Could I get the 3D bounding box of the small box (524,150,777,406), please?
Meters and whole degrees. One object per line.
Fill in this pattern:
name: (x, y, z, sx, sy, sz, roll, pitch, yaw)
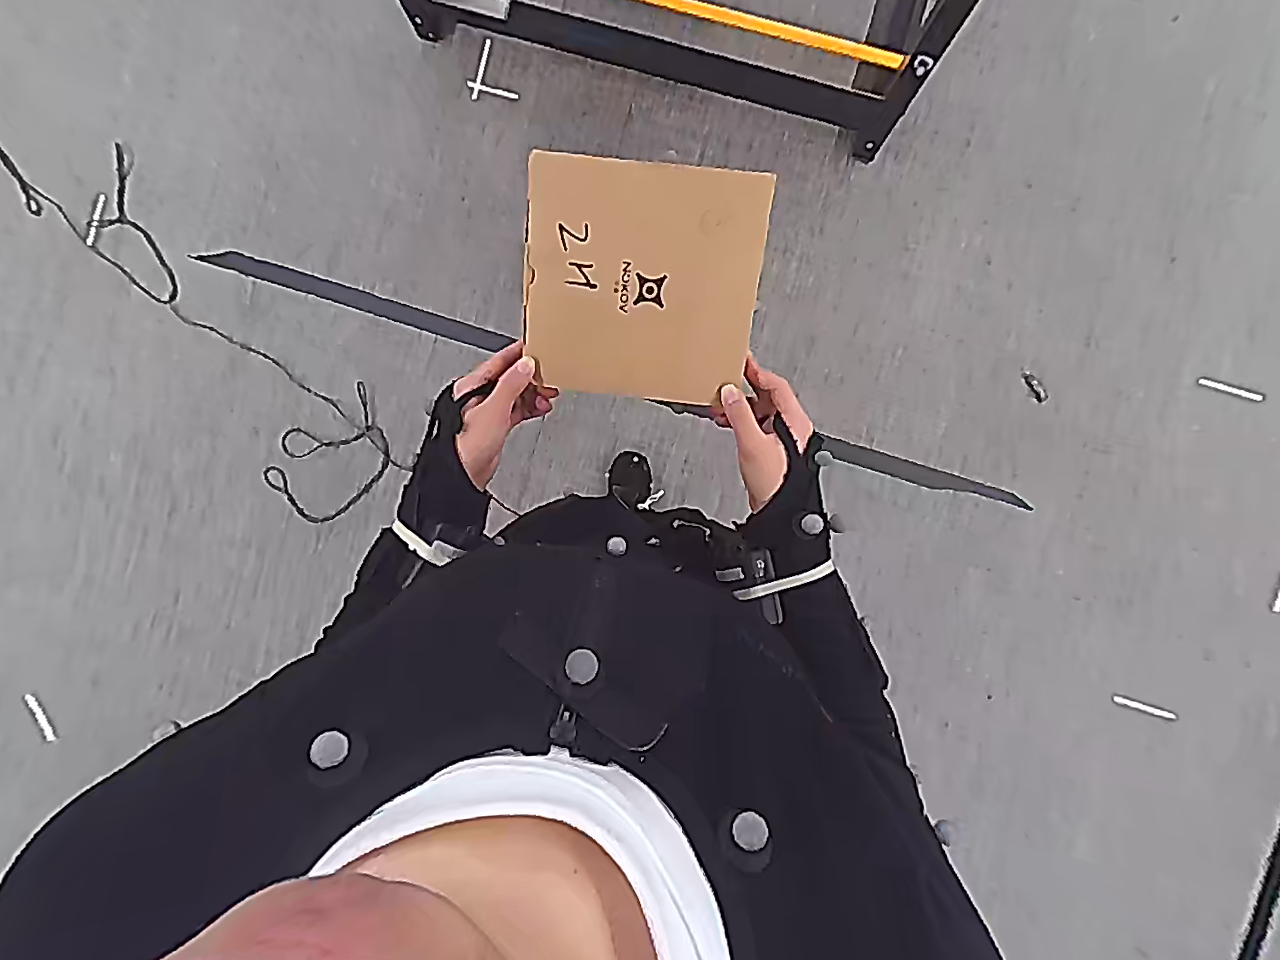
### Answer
small box: (0.007, -0.172, 0.479, 0.179, 0.176, 0.168, 8, 110, 3)
